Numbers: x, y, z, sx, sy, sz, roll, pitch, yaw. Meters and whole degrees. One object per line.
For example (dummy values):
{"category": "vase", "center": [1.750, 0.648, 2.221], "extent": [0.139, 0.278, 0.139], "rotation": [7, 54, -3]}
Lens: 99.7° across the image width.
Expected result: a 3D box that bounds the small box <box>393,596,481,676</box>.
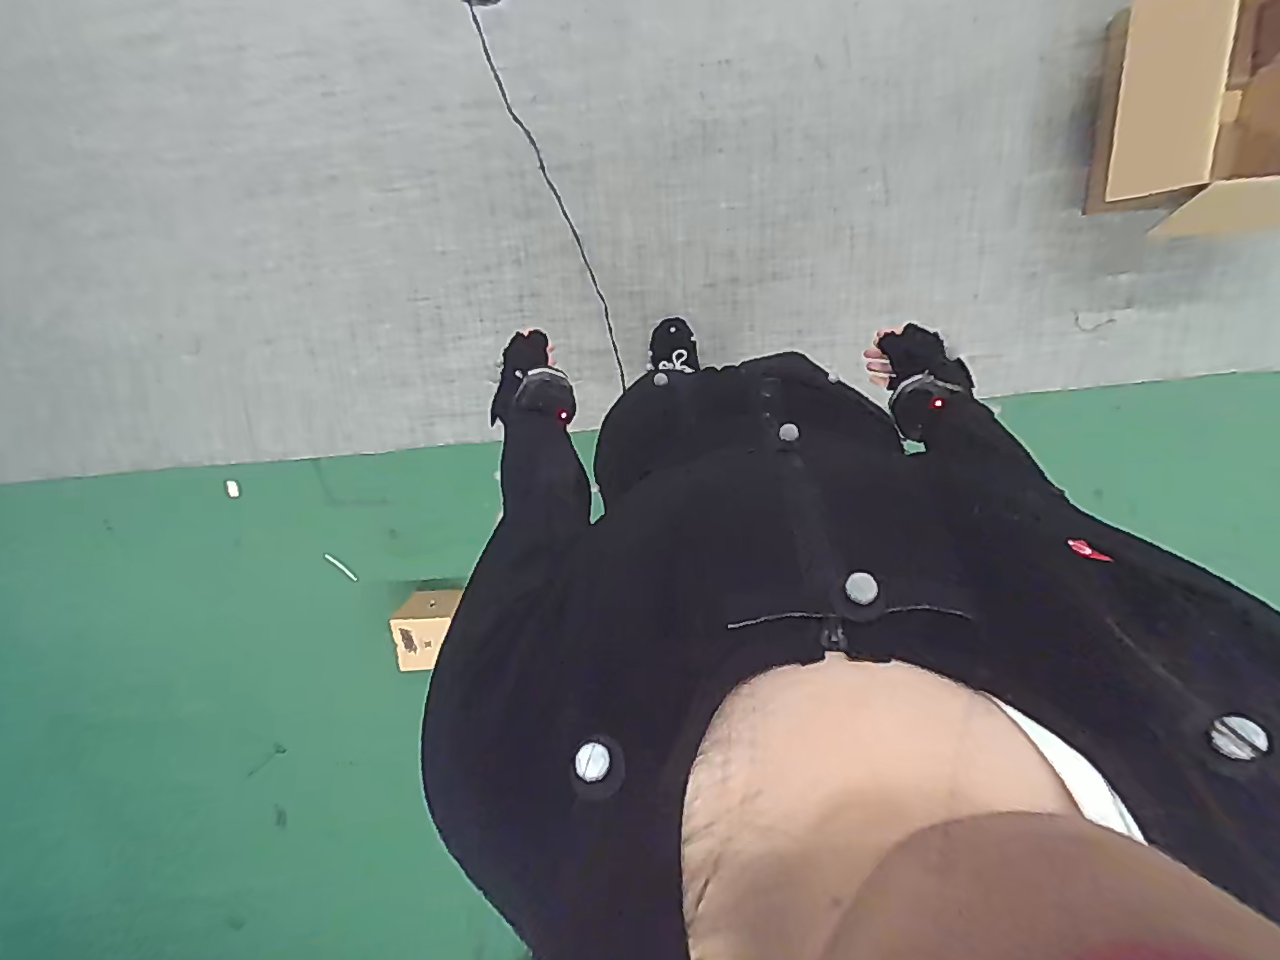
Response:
{"category": "small box", "center": [-0.585, 0.450, 1.576], "extent": [0.179, 0.176, 0.168], "rotation": [-3, 106, 3]}
